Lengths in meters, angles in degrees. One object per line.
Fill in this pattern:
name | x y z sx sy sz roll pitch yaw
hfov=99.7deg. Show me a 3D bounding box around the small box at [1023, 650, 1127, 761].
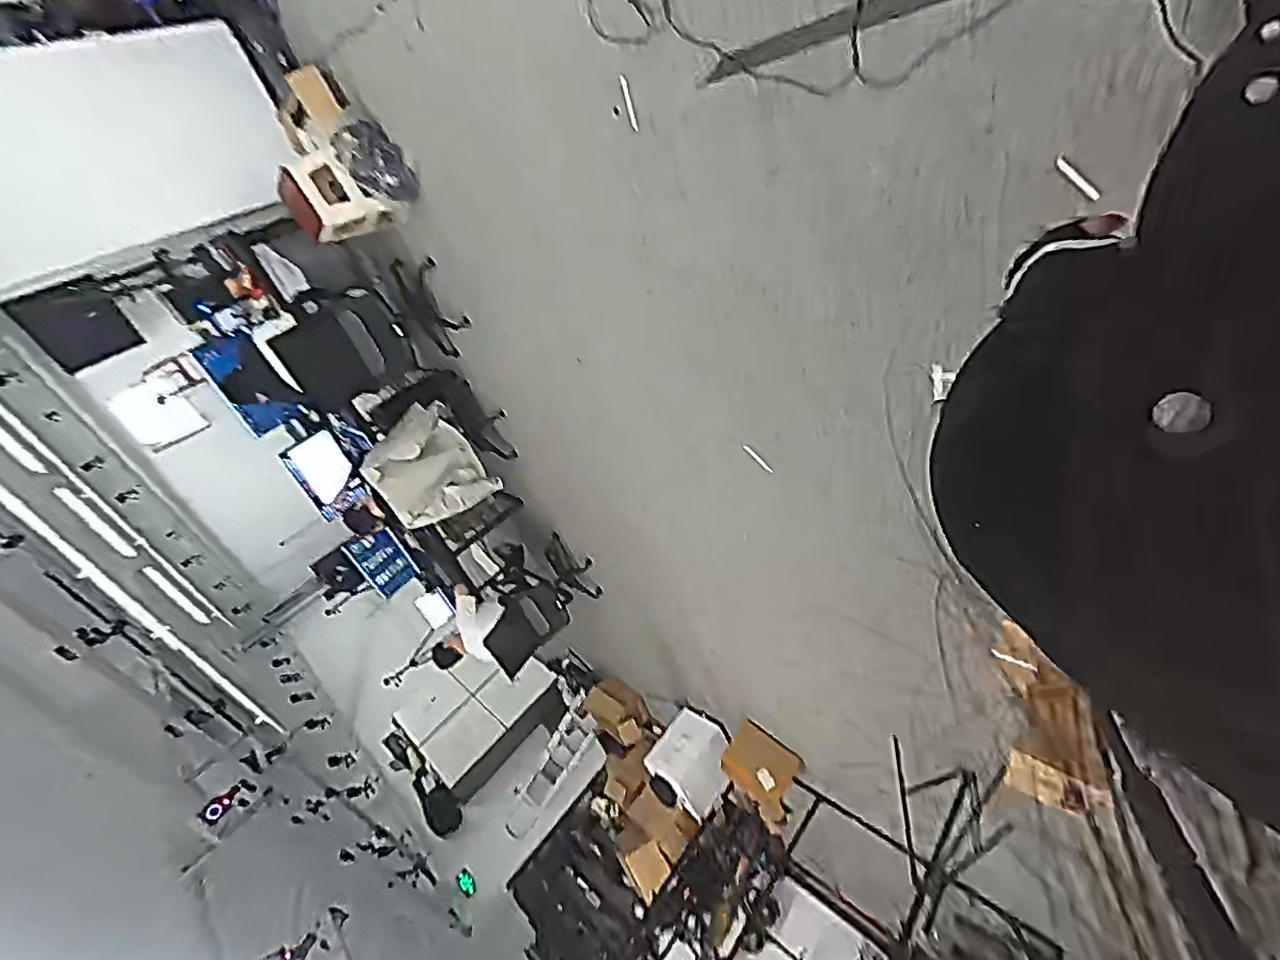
small box | 1.130 0.577 1.406 0.179 0.176 0.168 17 136 44
